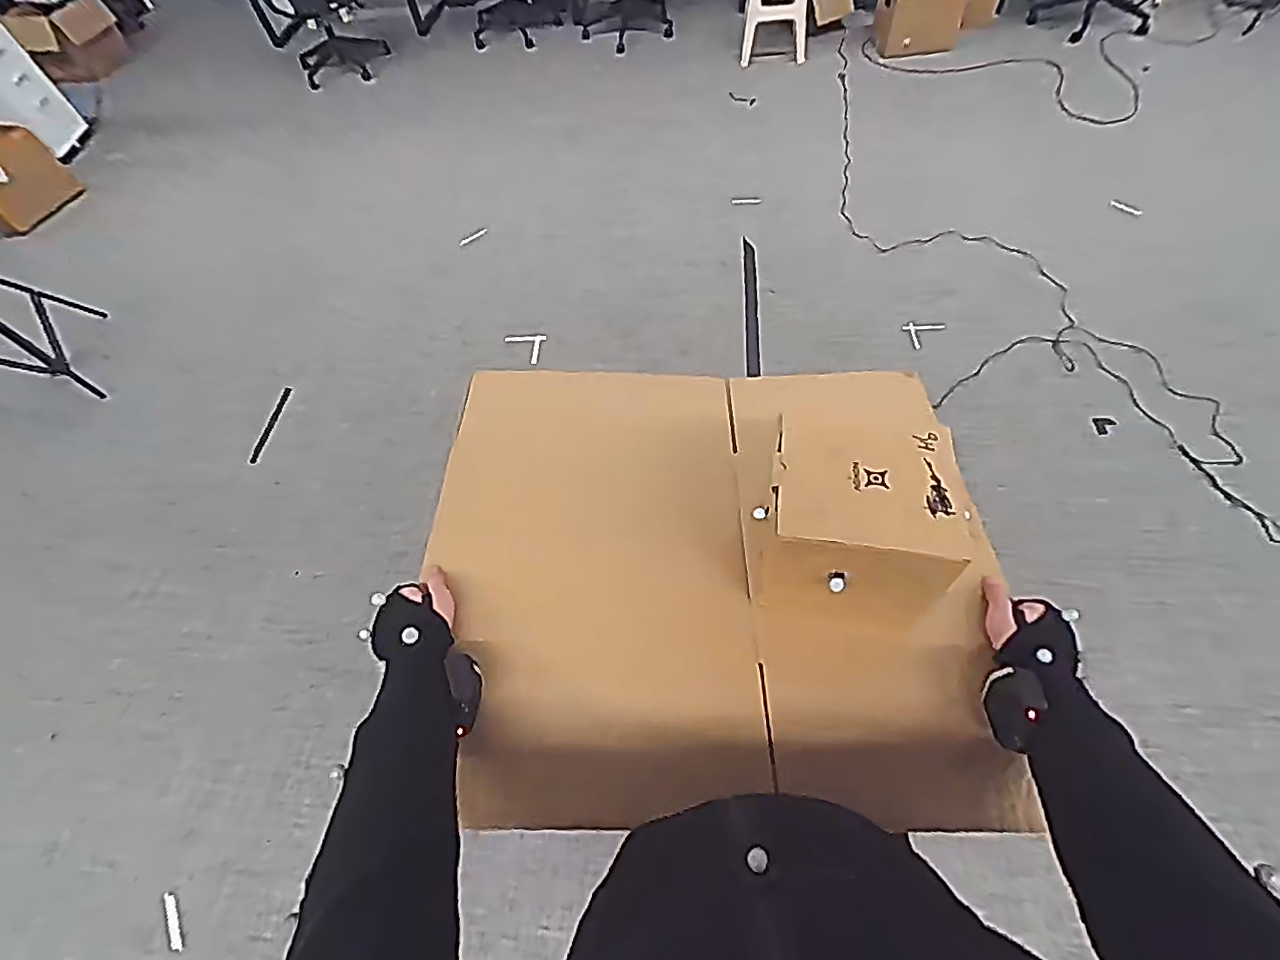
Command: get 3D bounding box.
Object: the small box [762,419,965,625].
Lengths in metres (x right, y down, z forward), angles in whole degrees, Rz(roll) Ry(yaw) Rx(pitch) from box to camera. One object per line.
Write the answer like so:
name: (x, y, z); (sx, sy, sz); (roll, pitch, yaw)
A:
small box: (0.236, 0.051, 0.616); (0.179, 0.176, 0.168); (6, 55, 11)
